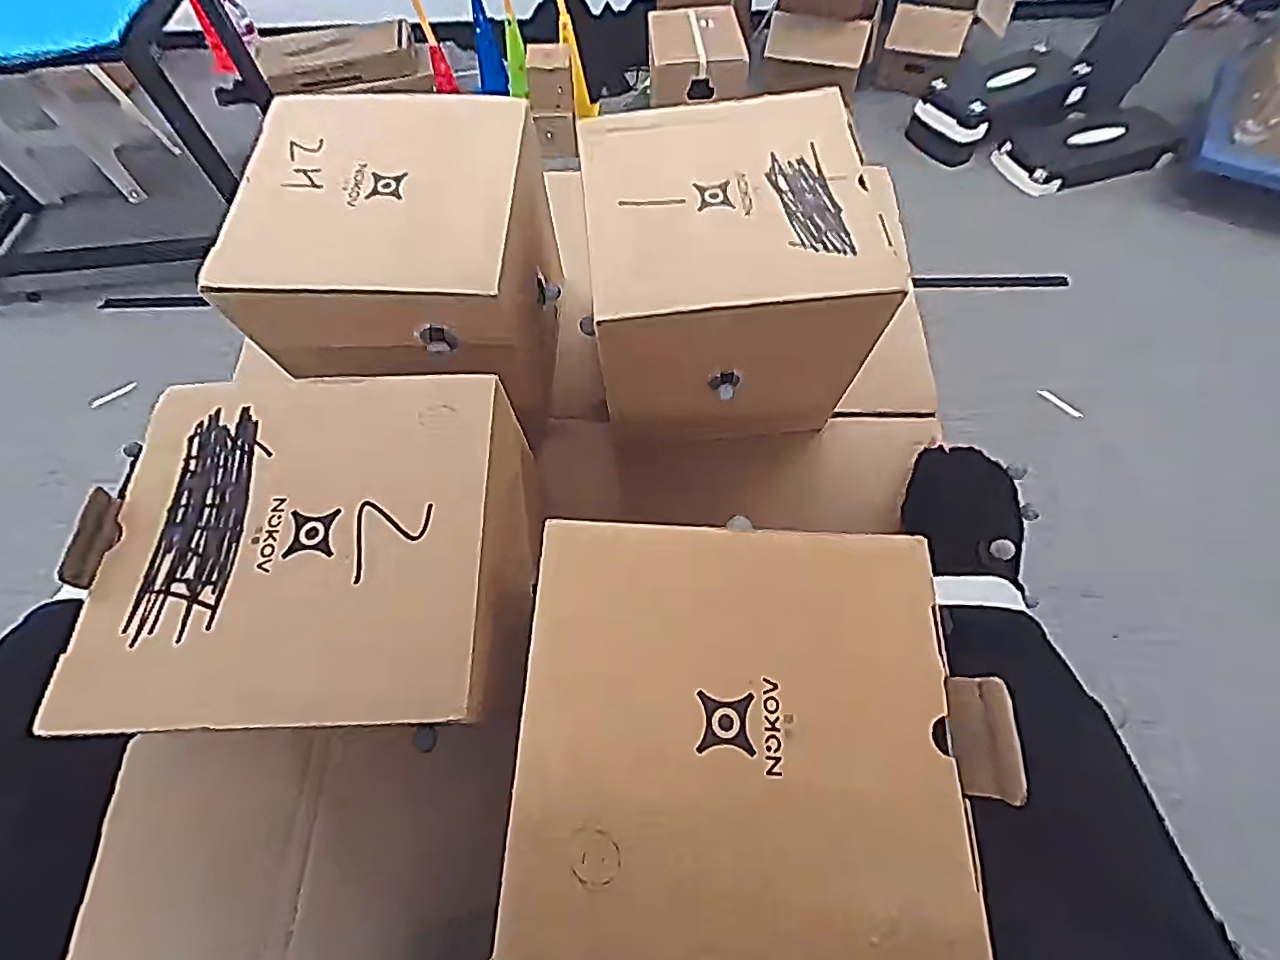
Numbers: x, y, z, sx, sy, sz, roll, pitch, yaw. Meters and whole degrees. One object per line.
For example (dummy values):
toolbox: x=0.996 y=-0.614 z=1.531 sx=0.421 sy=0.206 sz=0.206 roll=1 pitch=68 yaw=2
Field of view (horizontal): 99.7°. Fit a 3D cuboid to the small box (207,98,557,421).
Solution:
small box: x=-0.166 y=-0.156 z=0.420 sx=0.179 sy=0.176 sz=0.168 roll=1 pitch=68 yaw=2
